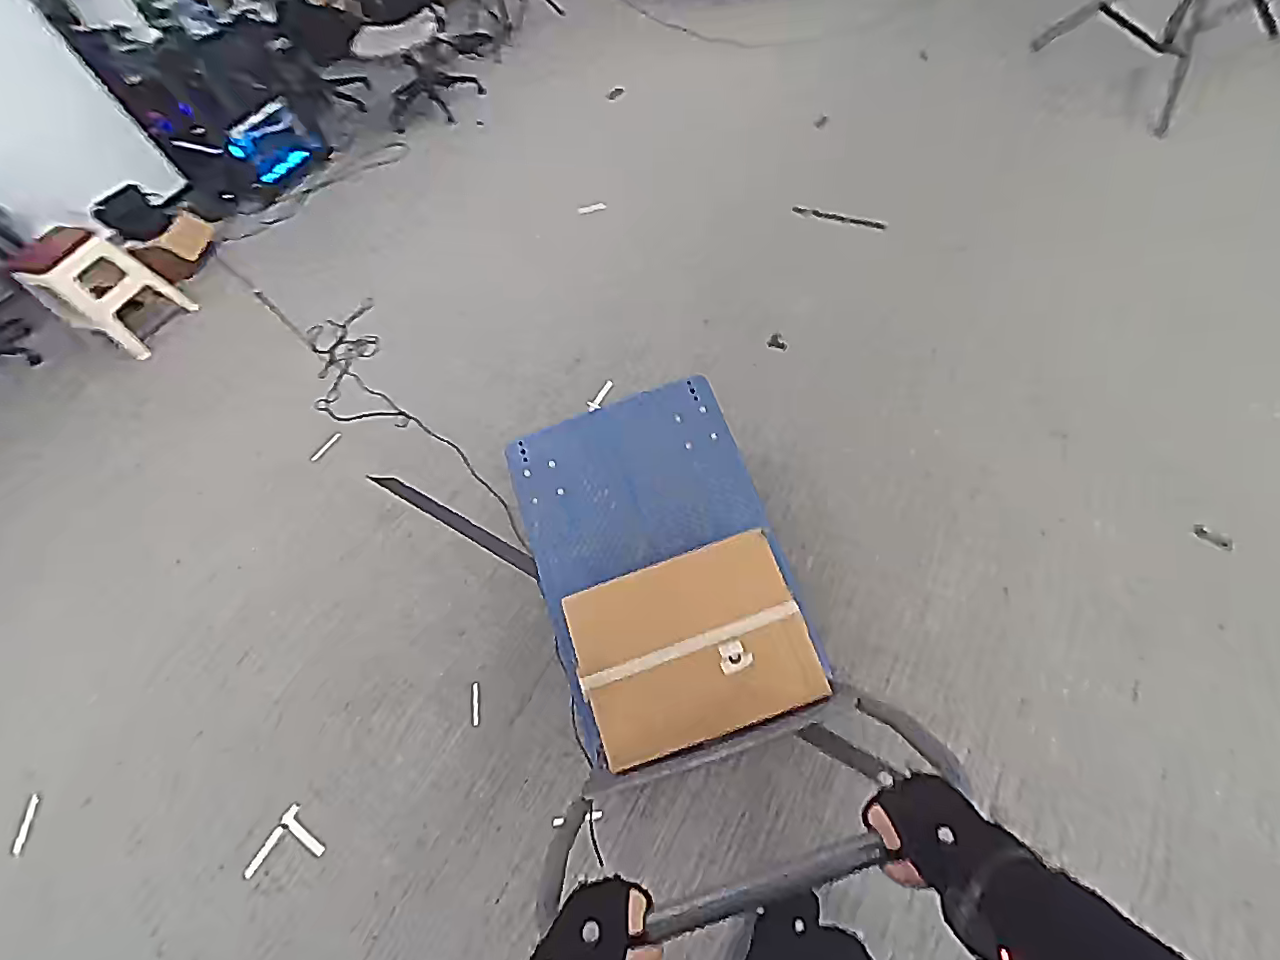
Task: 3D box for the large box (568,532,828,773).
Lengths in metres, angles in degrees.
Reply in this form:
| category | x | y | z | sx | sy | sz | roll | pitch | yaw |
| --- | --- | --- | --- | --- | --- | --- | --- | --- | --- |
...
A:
| category | x | y | z | sx | sy | sz | roll | pitch | yaw |
| --- | --- | --- | --- | --- | --- | --- | --- | --- | --- |
| large box | 0.108 | 0.349 | 1.126 | 0.408 | 0.320 | 0.320 | -20 | 73 | -2 |
